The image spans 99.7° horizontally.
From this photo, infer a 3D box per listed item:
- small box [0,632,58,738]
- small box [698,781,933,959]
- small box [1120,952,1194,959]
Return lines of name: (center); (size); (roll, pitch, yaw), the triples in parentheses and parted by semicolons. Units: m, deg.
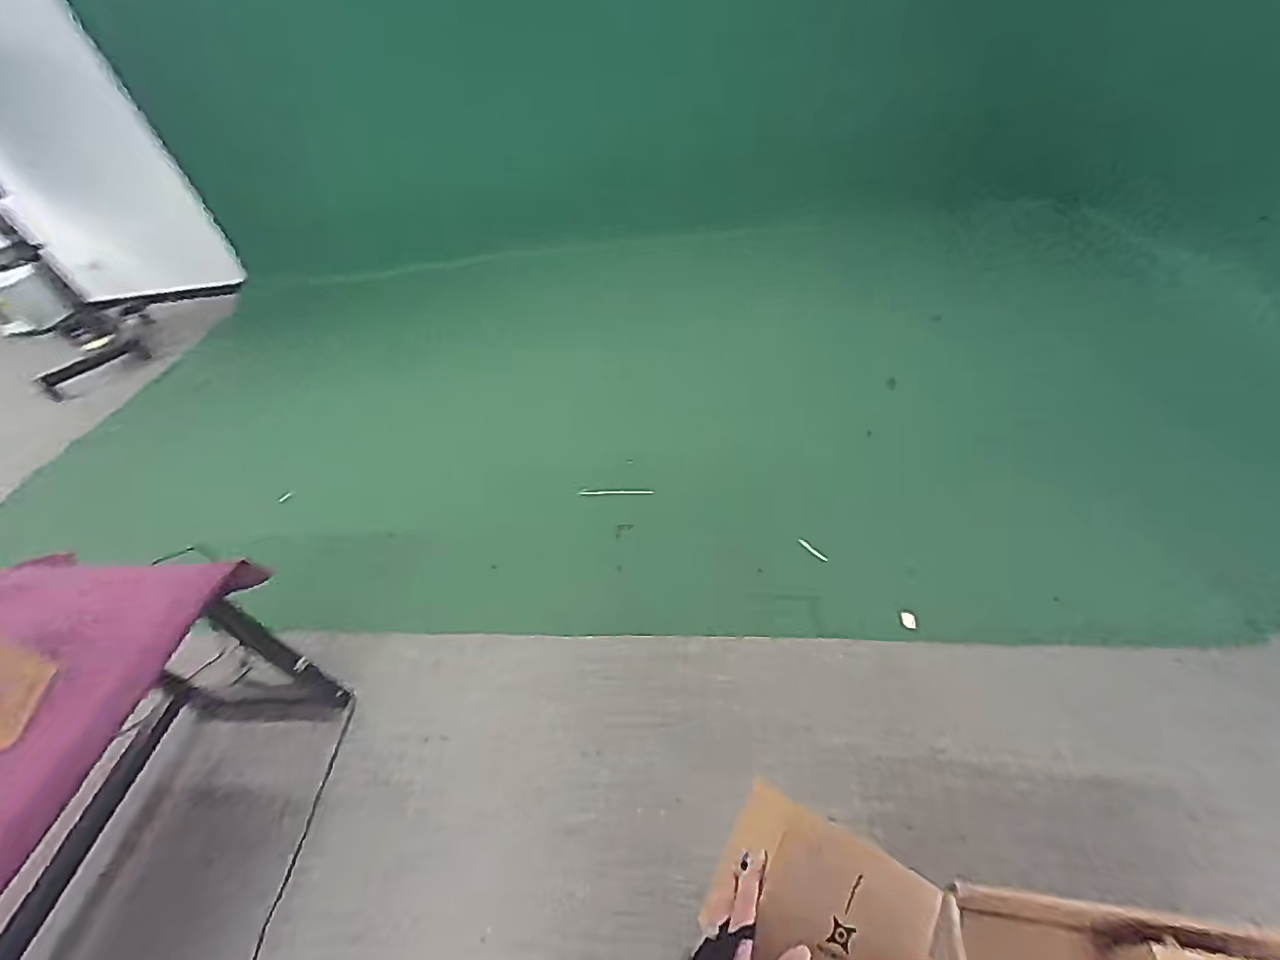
small box: (-1.295, 0.399, 1.026); (0.179, 0.176, 0.168); (-17, 46, -4)
small box: (0.173, 0.465, 0.587); (0.168, 0.176, 0.179); (27, 71, 6)
small box: (0.762, 0.743, 0.699); (0.179, 0.176, 0.168); (2, 48, 14)
